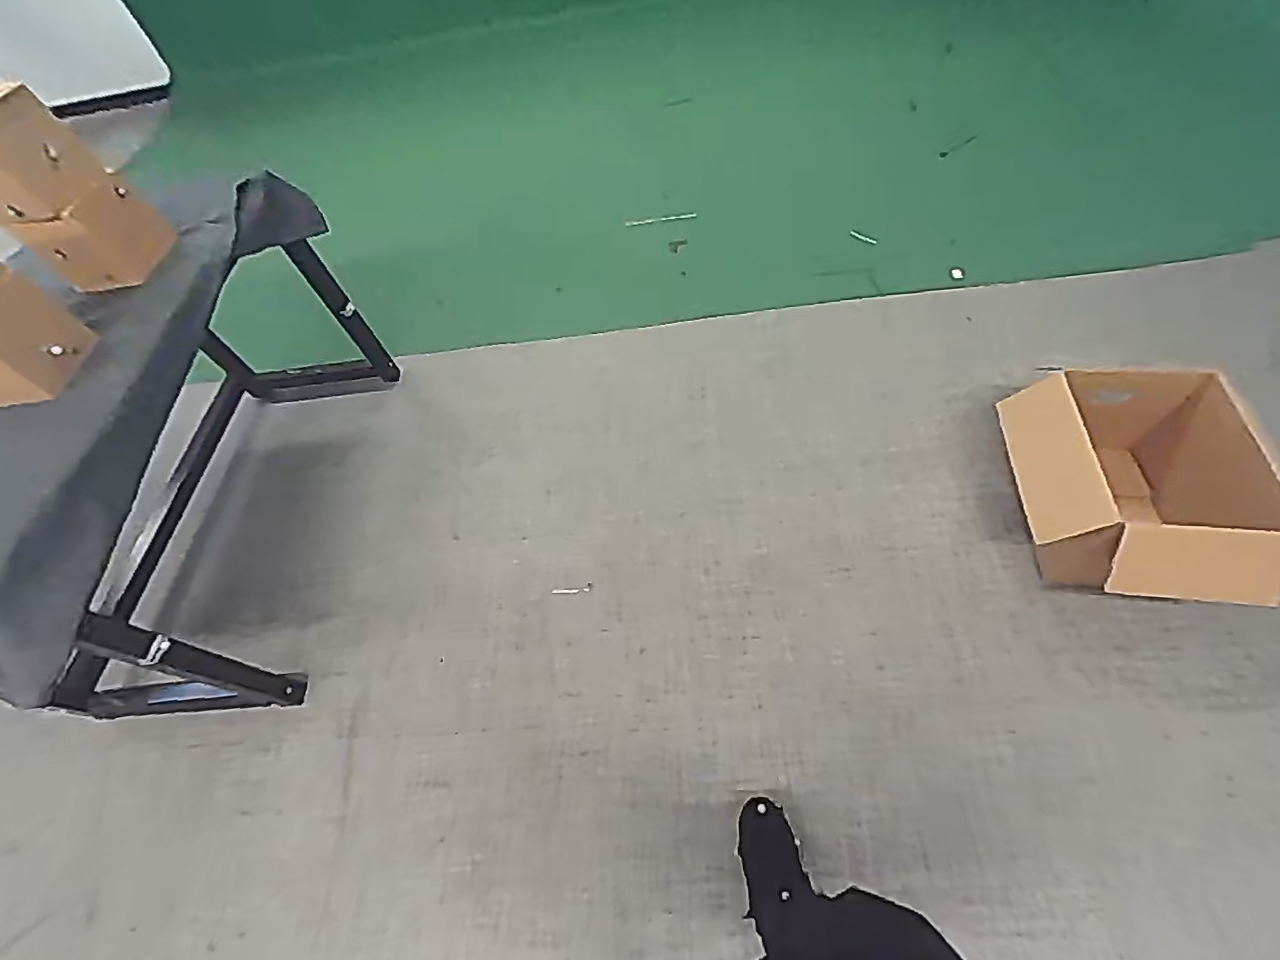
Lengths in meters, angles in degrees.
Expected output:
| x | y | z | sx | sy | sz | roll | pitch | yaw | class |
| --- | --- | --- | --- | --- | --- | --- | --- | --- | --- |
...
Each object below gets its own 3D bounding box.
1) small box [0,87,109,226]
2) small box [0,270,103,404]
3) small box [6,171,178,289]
| x | y | z | sx | sy | sz | roll | pitch | yaw | class |
| --- | --- | --- | --- | --- | --- | --- | --- | --- | --- |
| -1.216 | -0.624 | 1.043 | 0.168 | 0.176 | 0.179 | -1 | 57 | 9 | small box |
| -1.181 | -0.256 | 0.997 | 0.179 | 0.176 | 0.168 | -5 | 57 | 5 | small box |
| -1.179 | -0.538 | 1.183 | 0.168 | 0.176 | 0.179 | -5 | 56 | 7 | small box |
